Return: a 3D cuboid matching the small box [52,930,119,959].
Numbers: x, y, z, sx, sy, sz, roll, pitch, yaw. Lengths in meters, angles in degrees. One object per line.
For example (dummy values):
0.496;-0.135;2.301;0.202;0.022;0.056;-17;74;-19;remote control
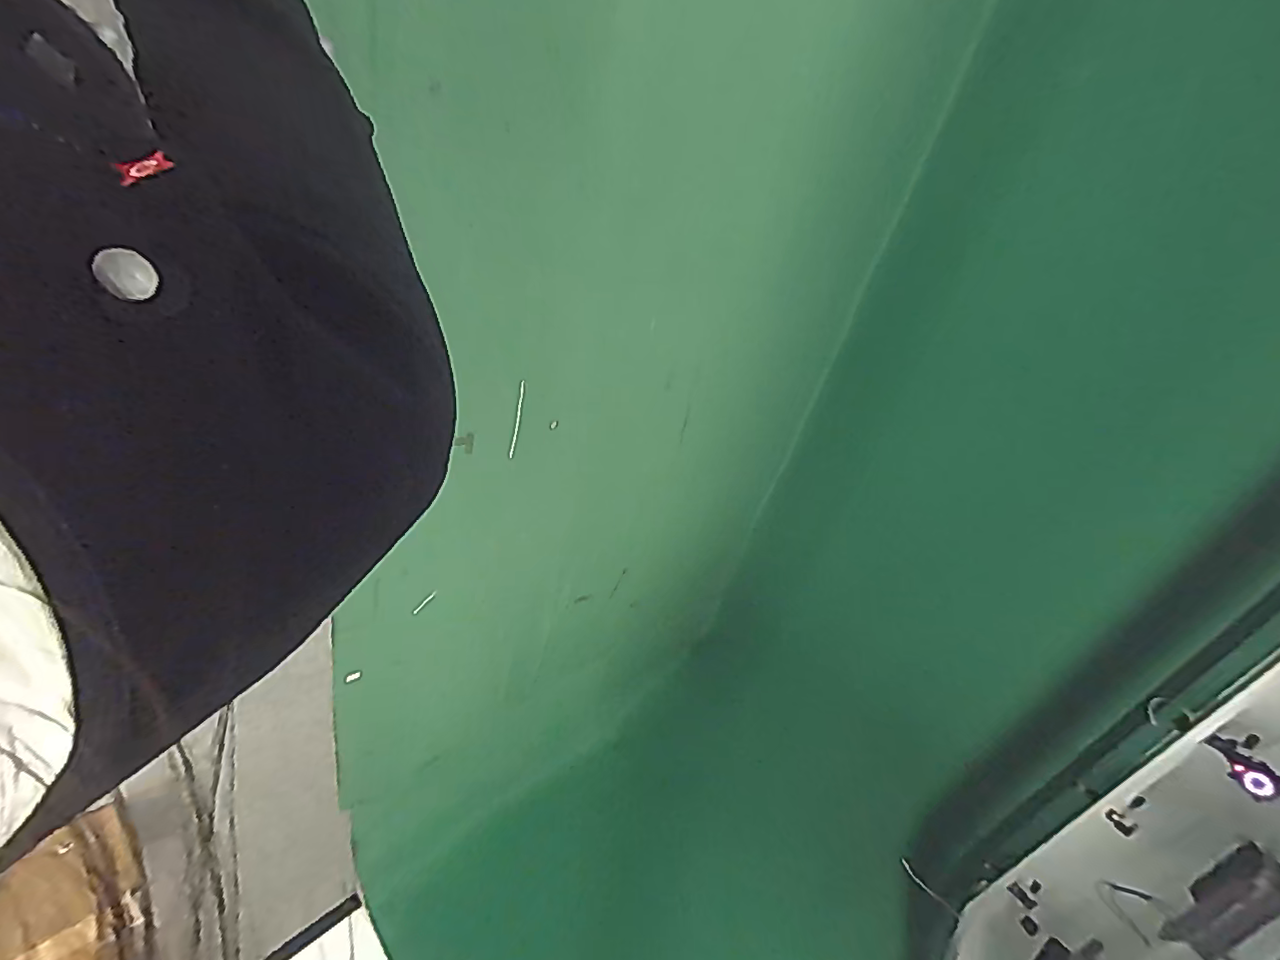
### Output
-1.484;1.354;1.416;0.179;0.176;0.168;-12;126;-48;small box
